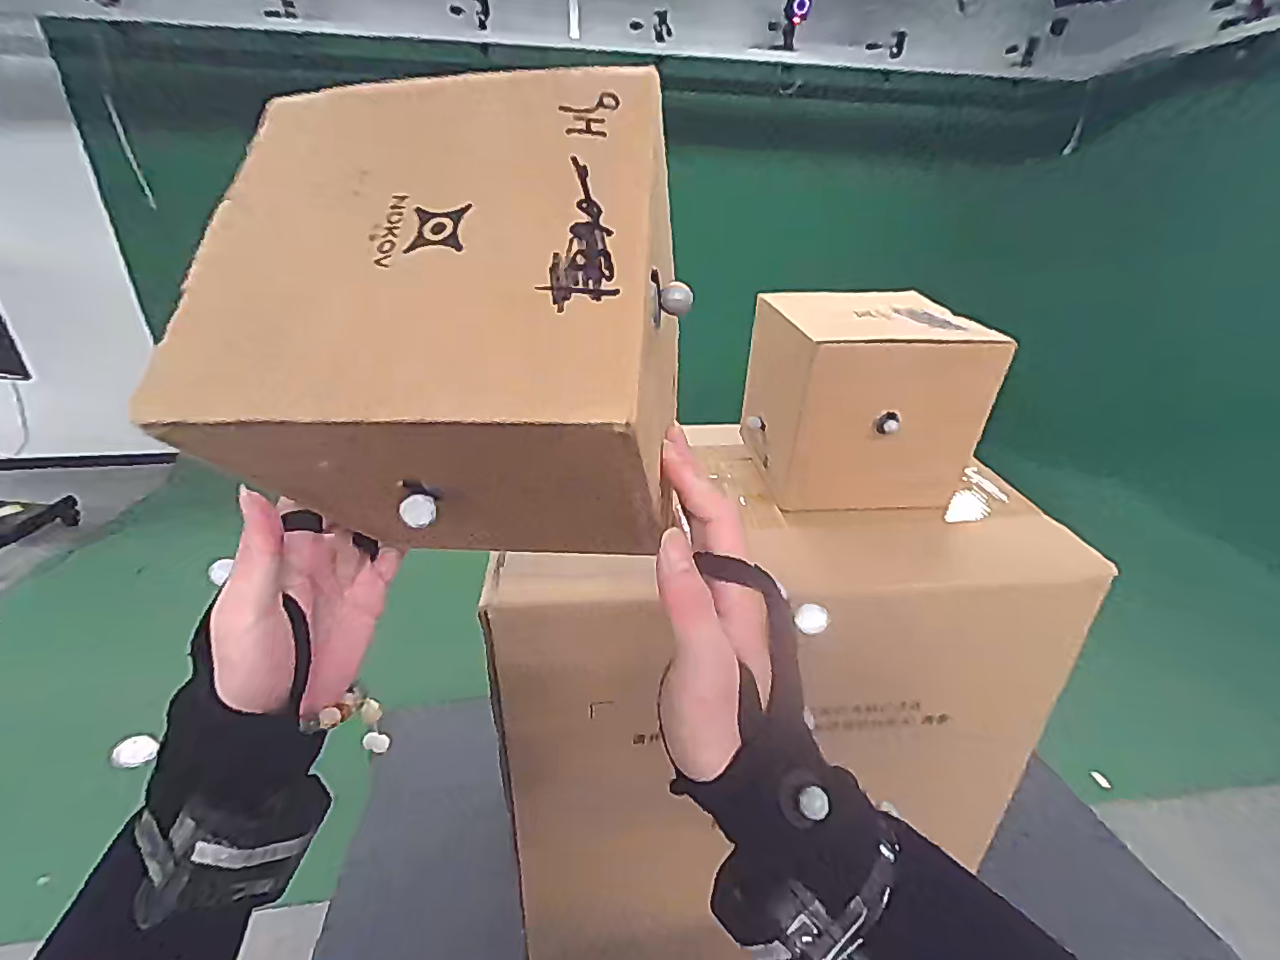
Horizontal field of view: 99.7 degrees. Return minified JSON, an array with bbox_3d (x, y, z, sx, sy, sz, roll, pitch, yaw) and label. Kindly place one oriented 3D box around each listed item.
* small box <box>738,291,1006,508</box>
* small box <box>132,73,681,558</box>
[{"bbox_3d":[0.210,-0.084,0.548,0.179,0.176,0.168,-2,32,-5],"label":"small box"},{"bbox_3d":[-0.075,-0.058,0.275,0.179,0.168,0.176,0,-20,8],"label":"small box"}]
